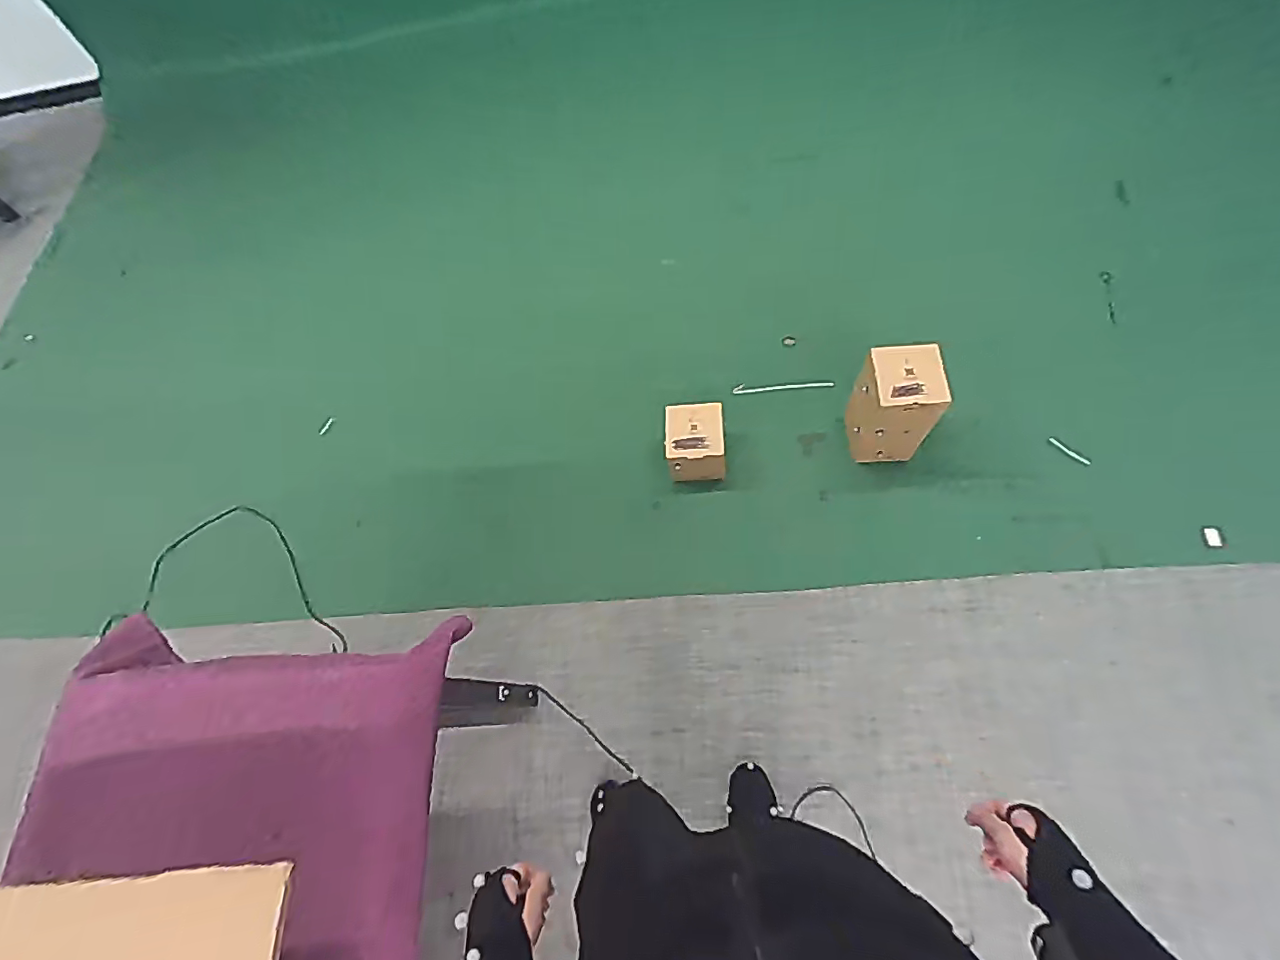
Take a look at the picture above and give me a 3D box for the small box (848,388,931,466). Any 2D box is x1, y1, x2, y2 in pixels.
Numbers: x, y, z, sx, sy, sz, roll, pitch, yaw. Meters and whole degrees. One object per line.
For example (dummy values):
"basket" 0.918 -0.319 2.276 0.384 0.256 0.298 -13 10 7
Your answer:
"small box" 0.712 -0.156 1.564 0.168 0.176 0.179 -3 67 7

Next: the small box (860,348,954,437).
"small box" 0.690 -0.220 1.415 0.168 0.176 0.179 -2 66 7
